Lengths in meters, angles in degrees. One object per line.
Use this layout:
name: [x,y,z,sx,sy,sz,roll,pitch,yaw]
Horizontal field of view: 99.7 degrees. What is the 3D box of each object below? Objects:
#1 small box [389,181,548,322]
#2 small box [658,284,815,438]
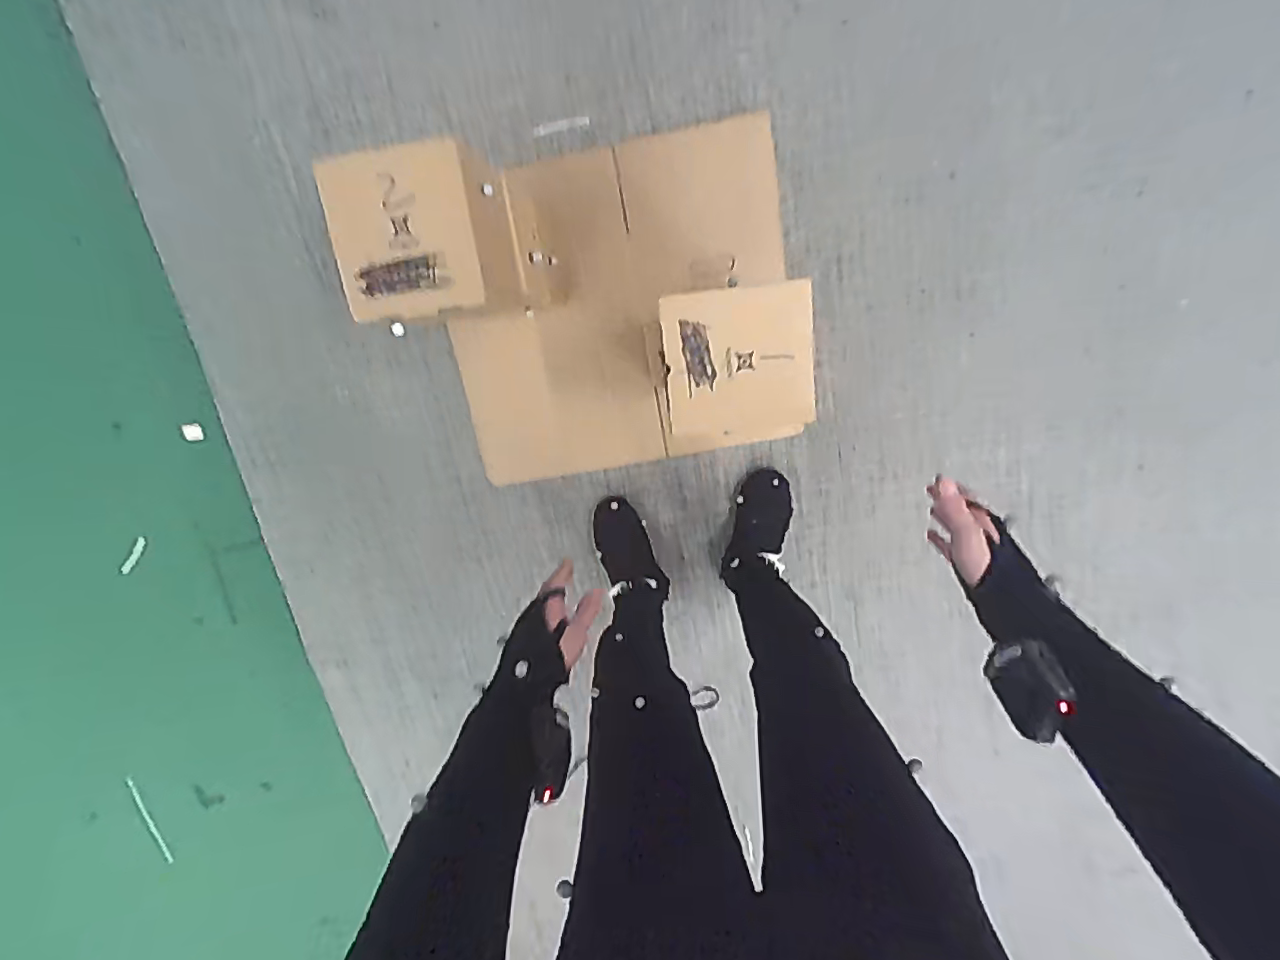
small box: [-0.250,-0.345,0.845,0.179,0.176,0.168,-8,105,6]
small box: [0.120,-0.156,0.708,0.179,0.176,0.168,-5,106,5]
